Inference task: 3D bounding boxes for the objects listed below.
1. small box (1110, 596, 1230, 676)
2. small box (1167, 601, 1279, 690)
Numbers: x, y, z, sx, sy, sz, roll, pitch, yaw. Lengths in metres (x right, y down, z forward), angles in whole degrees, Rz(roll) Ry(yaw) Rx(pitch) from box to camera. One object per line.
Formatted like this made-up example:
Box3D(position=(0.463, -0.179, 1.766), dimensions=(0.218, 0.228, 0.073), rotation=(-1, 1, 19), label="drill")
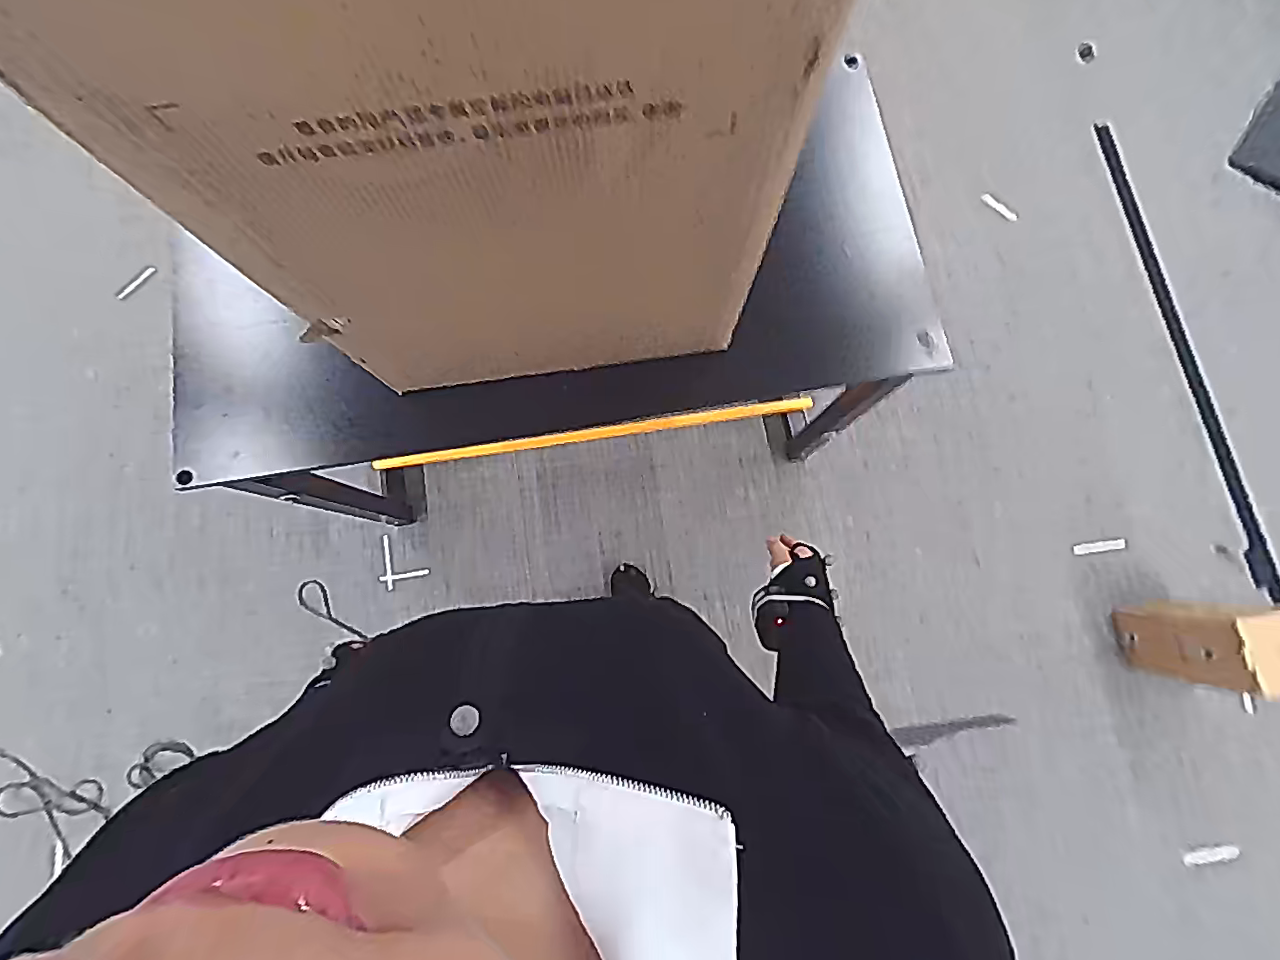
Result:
Box3D(position=(1.396, 0.399, 1.407), dimensions=(0.179, 0.176, 0.168), rotation=(-10, 79, -1), label="small box")
Box3D(position=(1.381, 0.374, 1.245), dimensions=(0.179, 0.176, 0.168), rotation=(-9, 79, -1), label="small box")
